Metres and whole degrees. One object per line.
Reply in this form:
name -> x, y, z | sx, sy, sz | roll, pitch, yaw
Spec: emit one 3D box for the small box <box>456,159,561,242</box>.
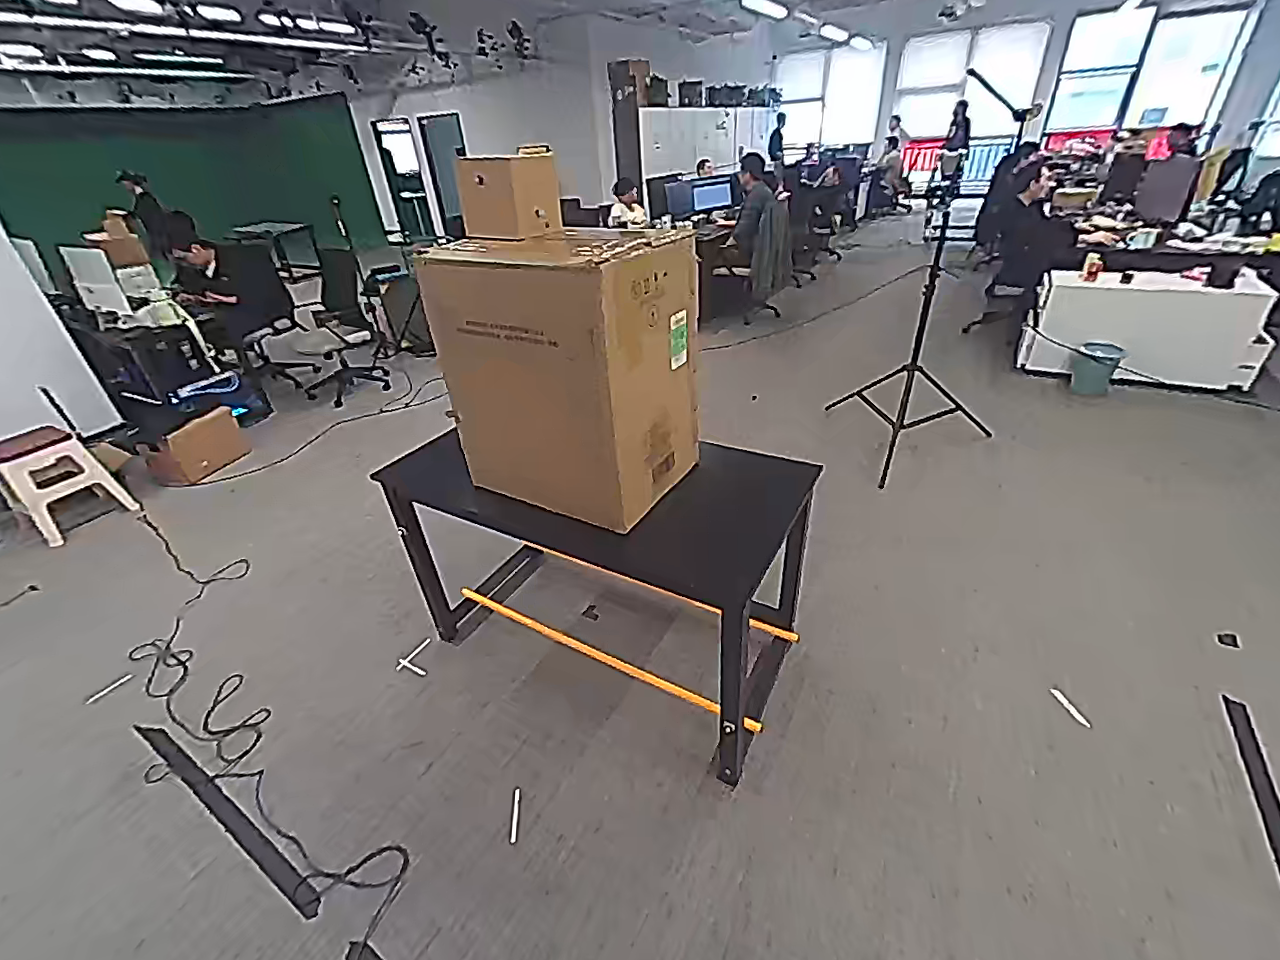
small box -> -0.310, -0.674, 1.303 | 0.179, 0.176, 0.168 | 16, 36, 26
